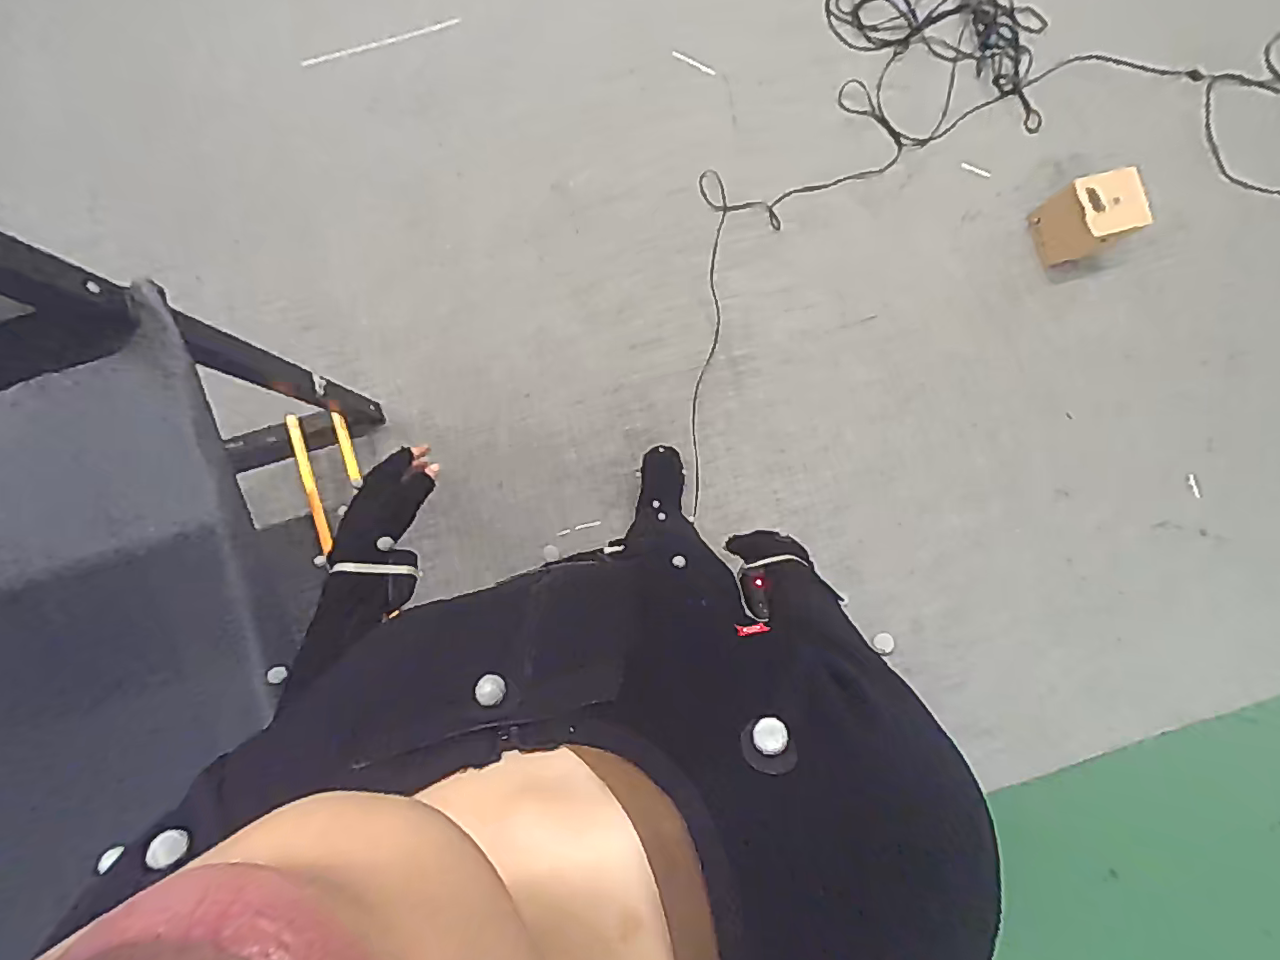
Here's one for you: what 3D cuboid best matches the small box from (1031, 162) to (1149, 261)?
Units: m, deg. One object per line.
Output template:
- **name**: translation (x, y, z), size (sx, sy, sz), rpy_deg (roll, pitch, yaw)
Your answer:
- **small box**: translation (1.227, -0.733, 1.495), size (0.179, 0.176, 0.168), rpy_deg (-14, 86, -2)
